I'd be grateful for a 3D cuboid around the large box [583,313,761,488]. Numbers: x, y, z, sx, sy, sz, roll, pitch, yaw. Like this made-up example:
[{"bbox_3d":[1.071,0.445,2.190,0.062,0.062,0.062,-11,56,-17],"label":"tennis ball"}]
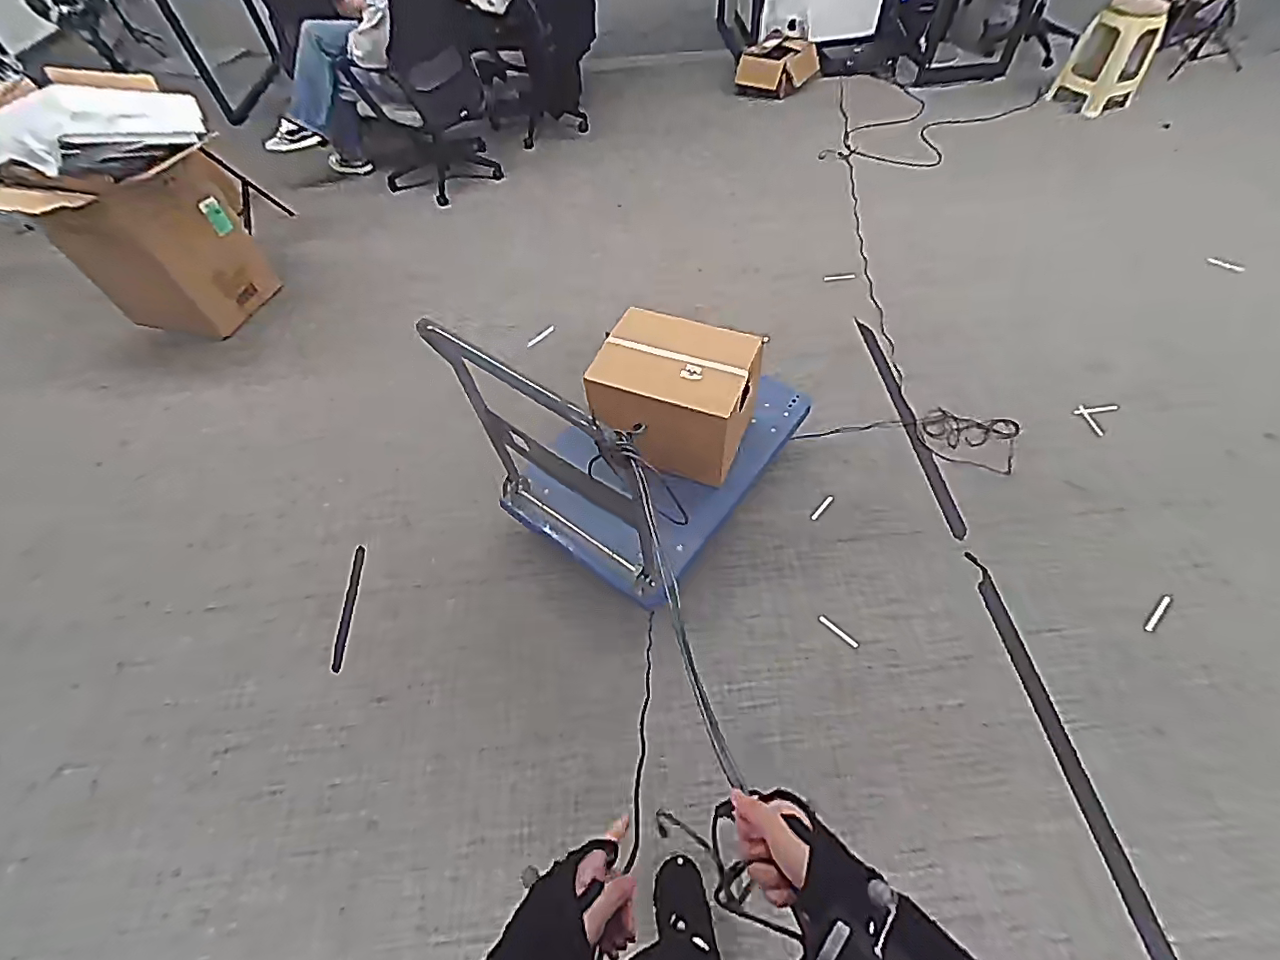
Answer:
[{"bbox_3d":[0.093,-0.227,1.560,0.408,0.320,0.320,18,59,15],"label":"large box"}]
